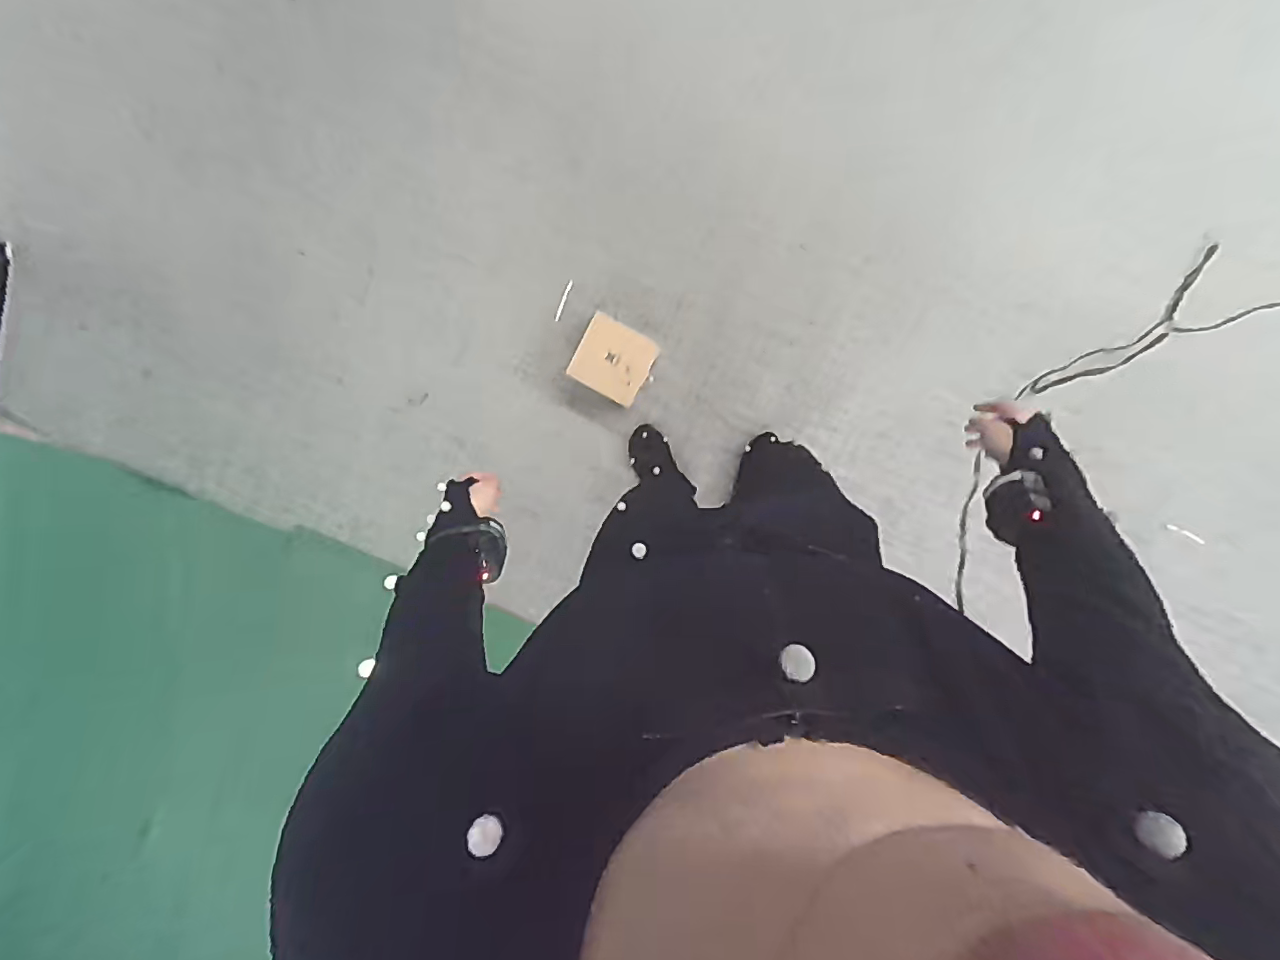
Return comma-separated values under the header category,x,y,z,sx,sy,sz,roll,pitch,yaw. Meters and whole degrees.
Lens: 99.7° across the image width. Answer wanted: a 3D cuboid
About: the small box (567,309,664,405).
category,x,y,z,sx,sy,sz,roll,pitch,yaw
small box,-0.054,-0.300,1.339,0.179,0.176,0.168,29,102,-3
